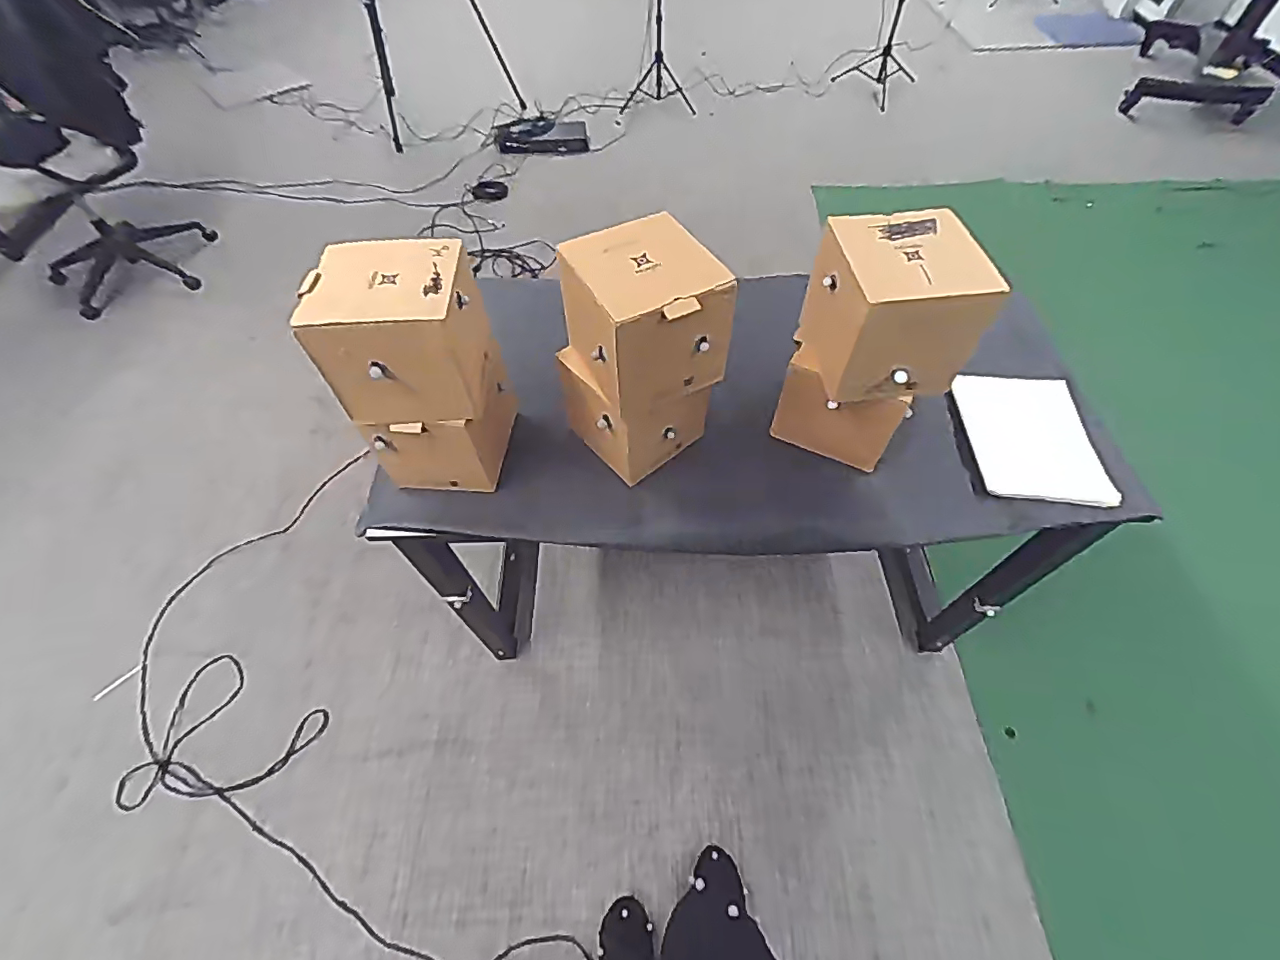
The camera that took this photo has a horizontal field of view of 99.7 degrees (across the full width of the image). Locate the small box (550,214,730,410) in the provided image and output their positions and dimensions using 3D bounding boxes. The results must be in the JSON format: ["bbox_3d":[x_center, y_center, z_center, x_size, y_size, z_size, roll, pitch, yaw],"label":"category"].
[{"bbox_3d":[-0.001,-0.217,0.726,0.168,0.176,0.179,-25,58,-16],"label":"small box"}]

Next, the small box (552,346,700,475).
[{"bbox_3d":[-0.015,-0.132,0.865,0.168,0.176,0.179,-36,62,-21],"label":"small box"}]

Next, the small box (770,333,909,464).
[{"bbox_3d":[0.328,-0.149,0.868,0.179,0.176,0.168,23,59,18],"label":"small box"}]

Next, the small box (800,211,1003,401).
[{"bbox_3d":[0.326,-0.230,0.724,0.168,0.176,0.179,-6,56,-1],"label":"small box"}]

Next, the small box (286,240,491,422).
[{"bbox_3d":[-0.311,-0.190,0.714,0.179,0.176,0.168,-4,55,-1],"label":"small box"}]
